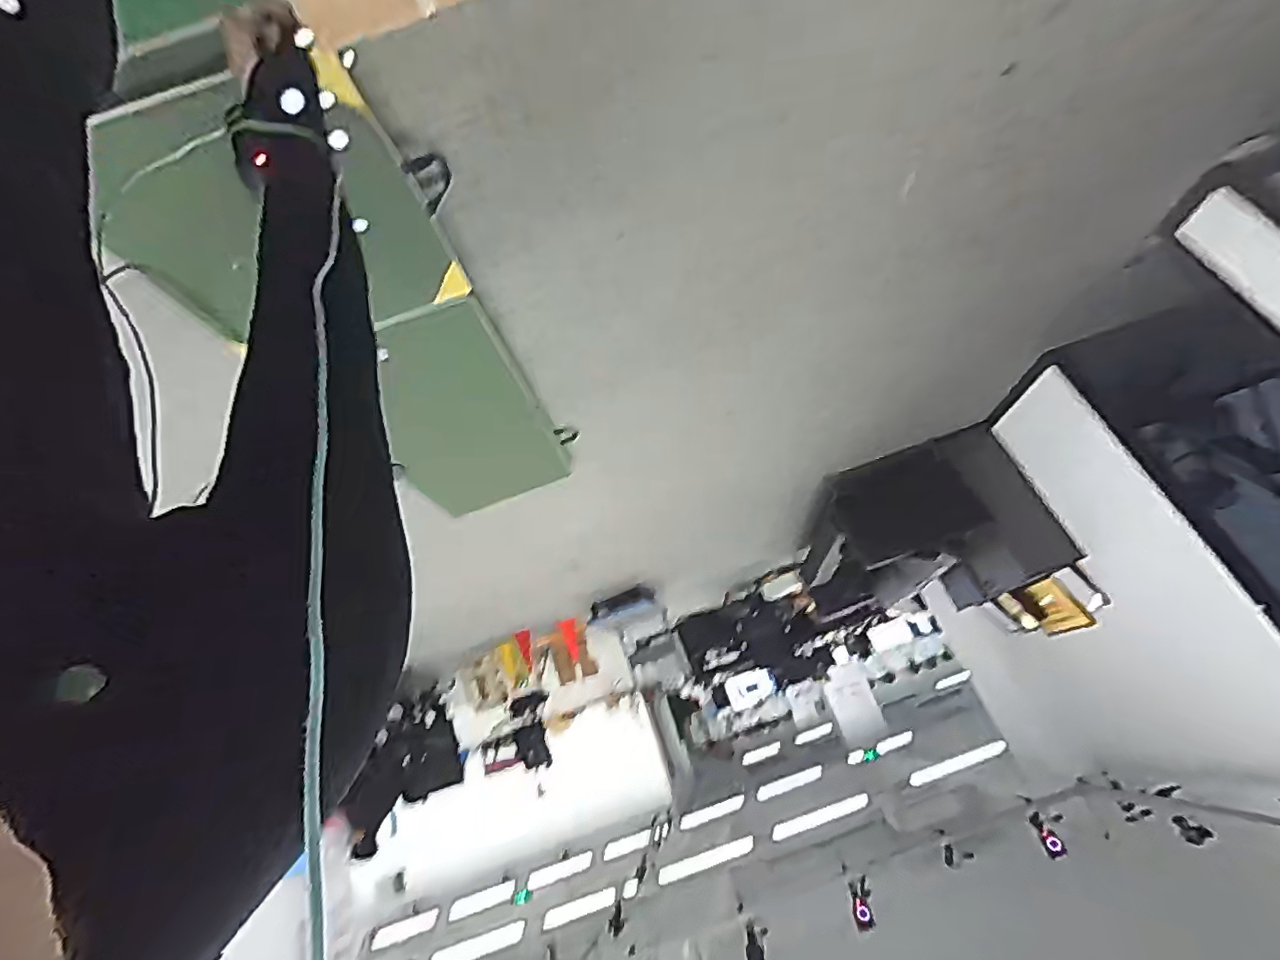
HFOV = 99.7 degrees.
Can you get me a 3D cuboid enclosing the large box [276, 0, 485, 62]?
[{"bbox_3d":[-0.372,-0.815,0.606,0.320,0.320,0.408,-21,156,-1],"label":"large box"}]
